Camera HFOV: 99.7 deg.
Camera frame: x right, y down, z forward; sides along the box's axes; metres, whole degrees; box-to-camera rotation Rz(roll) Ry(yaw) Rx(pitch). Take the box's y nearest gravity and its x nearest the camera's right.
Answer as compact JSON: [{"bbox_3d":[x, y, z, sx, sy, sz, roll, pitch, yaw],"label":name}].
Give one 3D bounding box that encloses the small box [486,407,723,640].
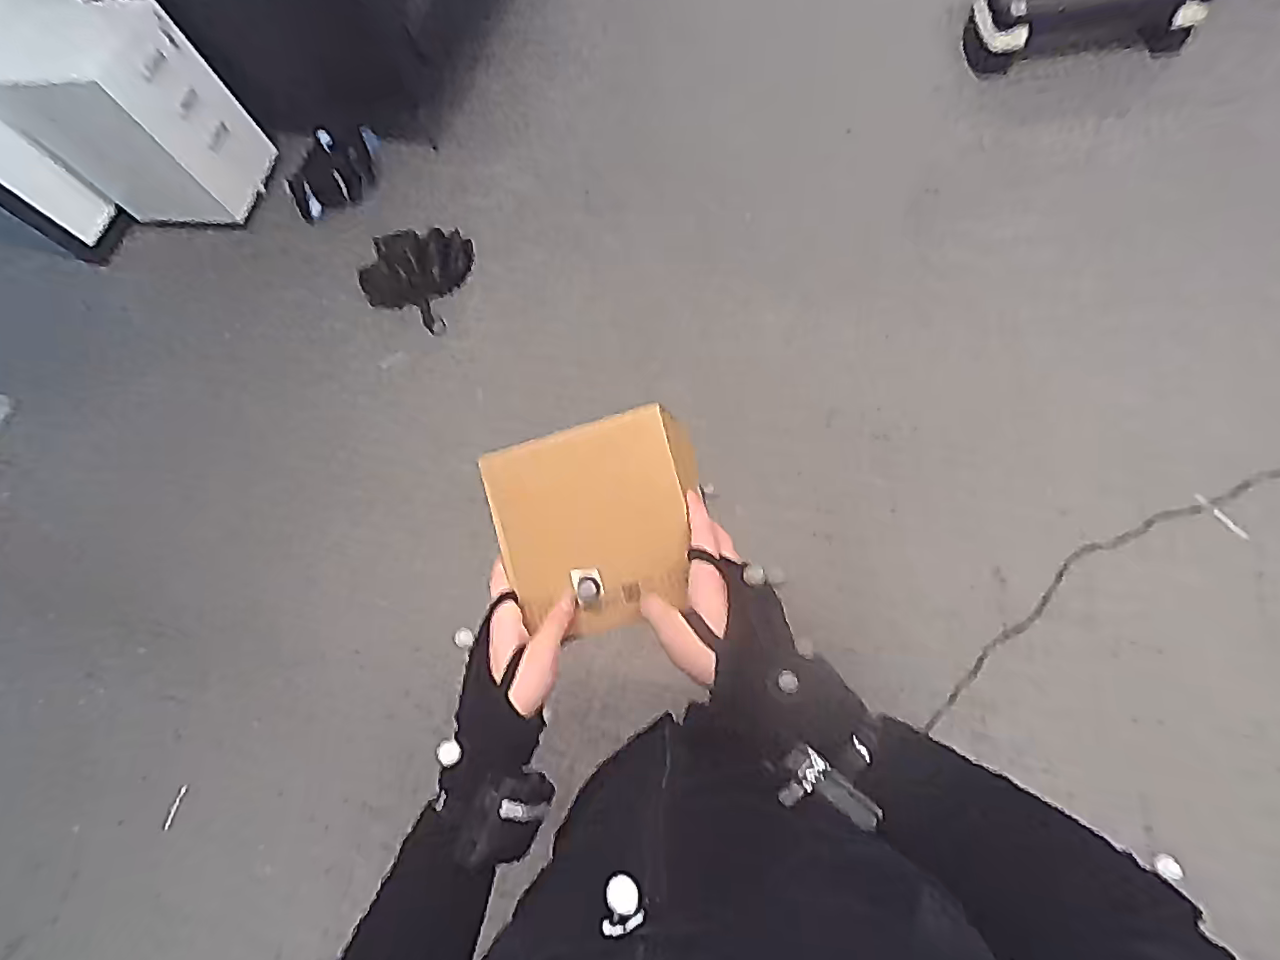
[{"bbox_3d":[-0.021,0.043,0.528,0.168,0.179,0.176,-17,87,11],"label":"small box"}]
